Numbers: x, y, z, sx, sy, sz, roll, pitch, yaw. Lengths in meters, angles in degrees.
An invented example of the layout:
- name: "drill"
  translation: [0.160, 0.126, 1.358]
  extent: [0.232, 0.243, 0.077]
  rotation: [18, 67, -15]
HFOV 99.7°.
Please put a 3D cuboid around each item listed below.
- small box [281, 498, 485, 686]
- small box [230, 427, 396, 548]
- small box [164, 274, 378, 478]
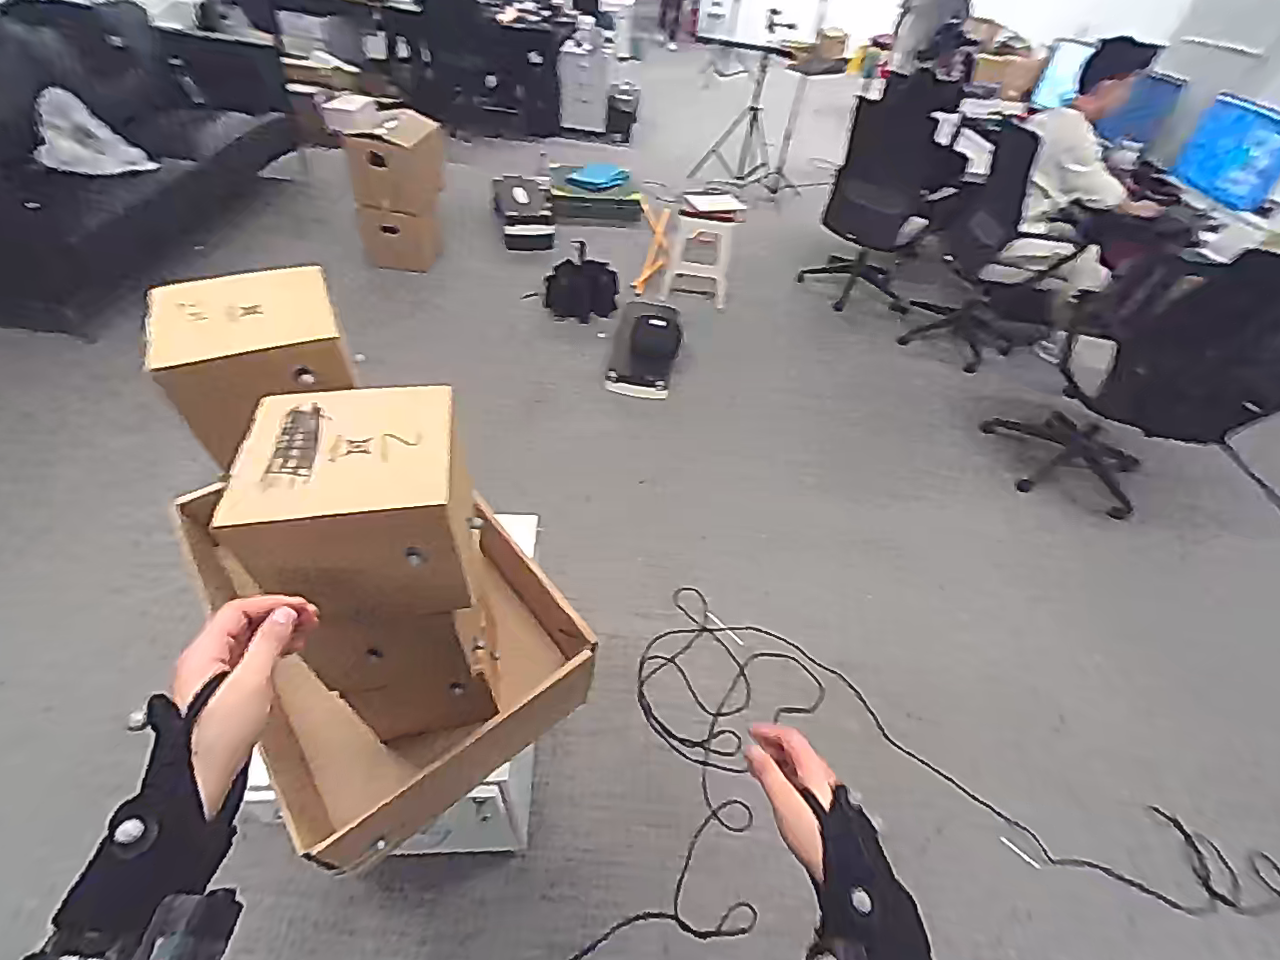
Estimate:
- name: "small box"
  translation: [-0.295, 0.140, 0.673]
  extent: [0.179, 0.176, 0.168]
  rotation: [-3, 46, -7]
- name: "small box"
  translation: [-0.477, -0.029, 0.809]
  extent: [0.168, 0.176, 0.179]
  rotation: [-16, 53, -18]
- name: "small box"
  translation: [-0.448, -0.131, 0.682]
  extent: [0.179, 0.176, 0.168]
  rotation: [-19, 52, -21]
